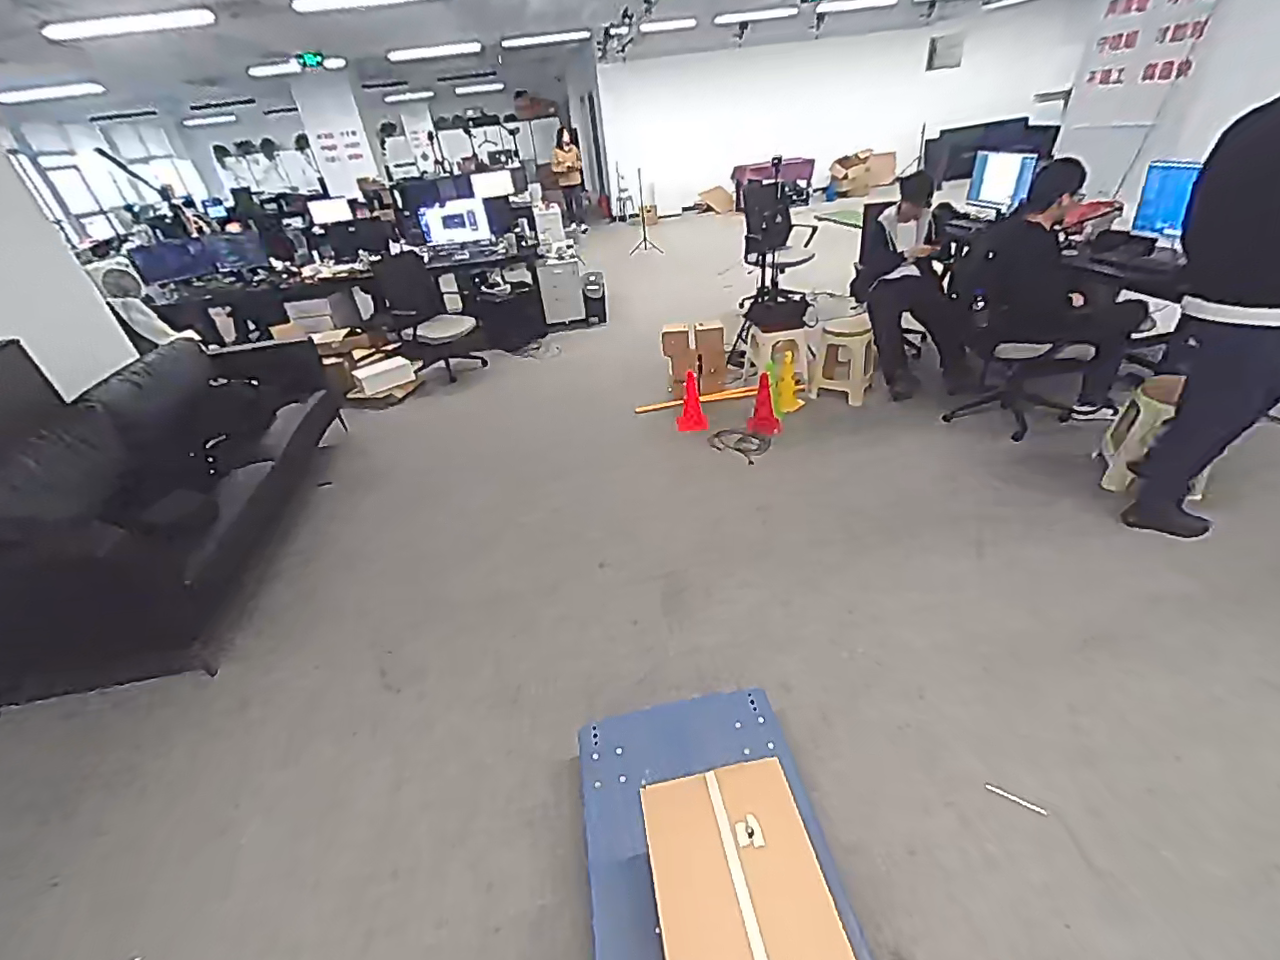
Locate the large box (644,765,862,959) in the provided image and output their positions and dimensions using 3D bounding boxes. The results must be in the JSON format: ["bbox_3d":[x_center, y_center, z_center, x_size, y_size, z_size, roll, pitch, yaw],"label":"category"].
[{"bbox_3d":[0.210,0.871,1.071,0.320,0.320,0.408,-10,32,-4],"label":"large box"}]
